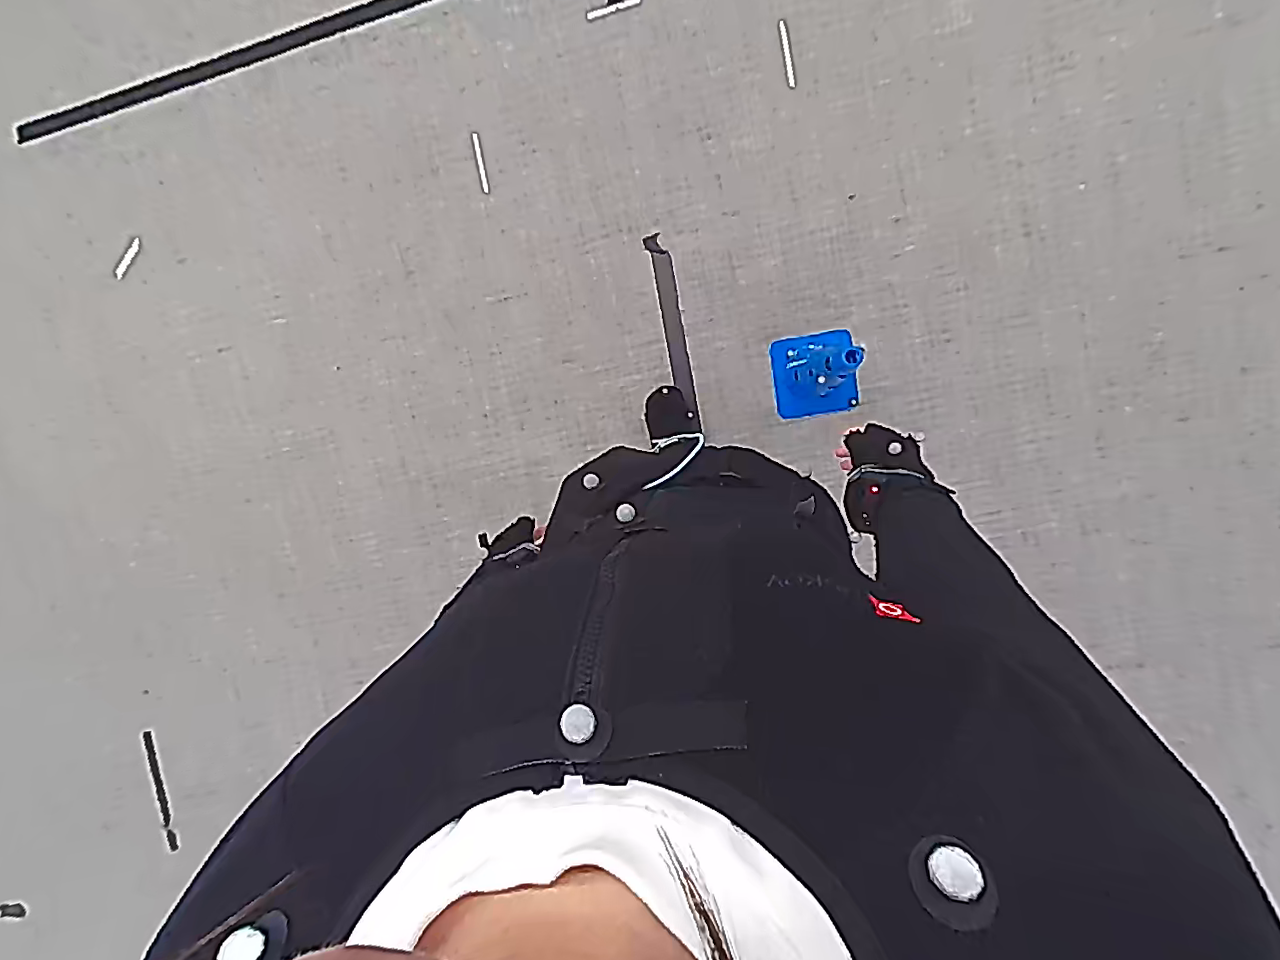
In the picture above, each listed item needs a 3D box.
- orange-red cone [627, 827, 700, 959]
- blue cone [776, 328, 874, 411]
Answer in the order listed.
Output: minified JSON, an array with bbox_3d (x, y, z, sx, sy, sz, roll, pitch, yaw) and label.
[{"bbox_3d":[0.043,1.080,1.346,0.199,0.360,0.198,-5,93,8],"label":"orange-red cone"},{"bbox_3d":[0.425,-0.257,1.188,0.192,0.380,0.193,-6,95,6],"label":"blue cone"}]
